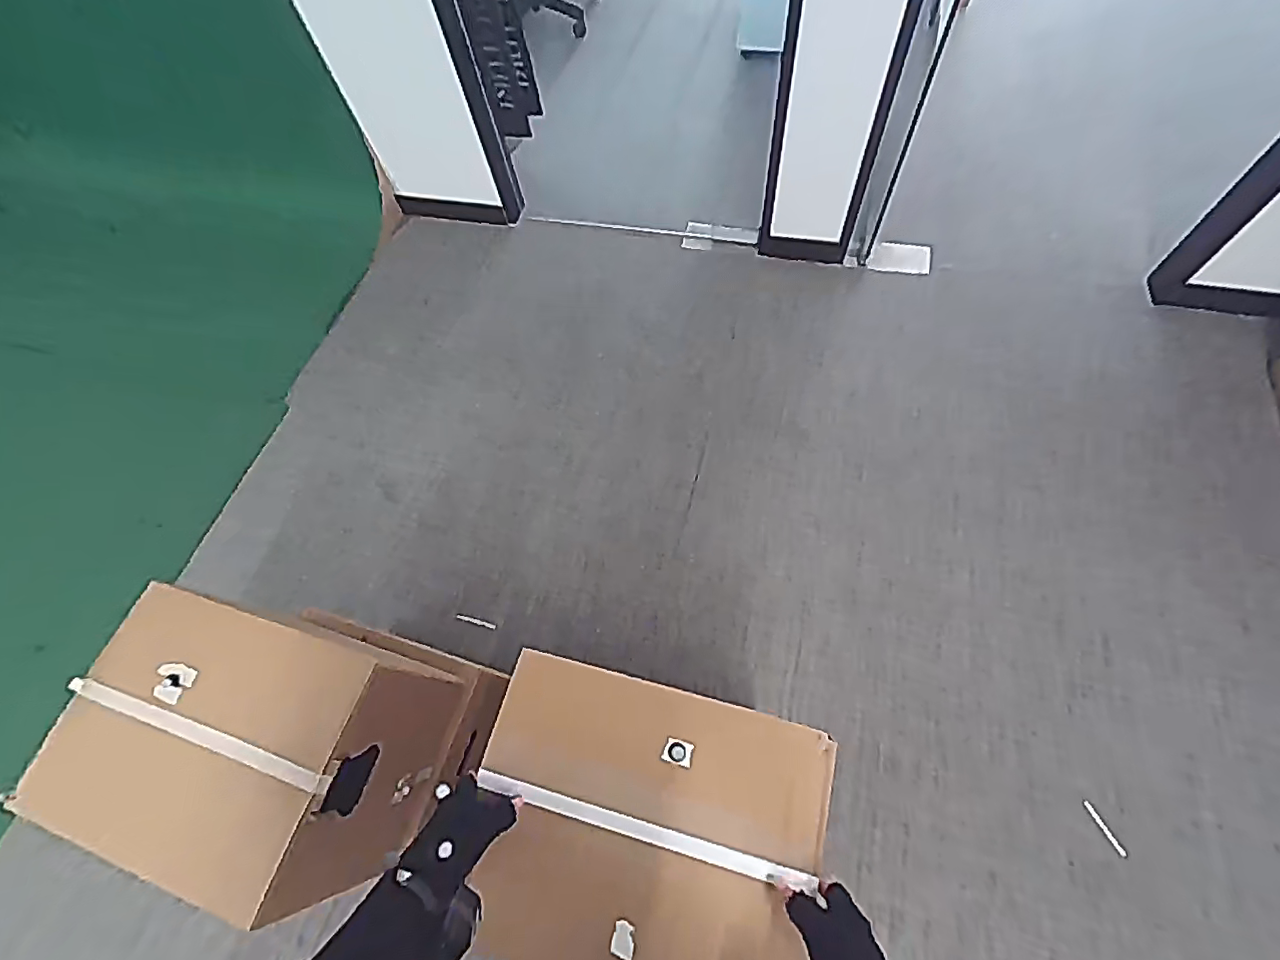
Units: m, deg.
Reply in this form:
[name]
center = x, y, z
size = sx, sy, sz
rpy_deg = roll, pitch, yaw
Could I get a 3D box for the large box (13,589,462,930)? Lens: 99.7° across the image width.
[large box]
center = -0.566, 0.401, 0.847
size = 0.408, 0.320, 0.320
rpy_deg = 13, 67, 13
